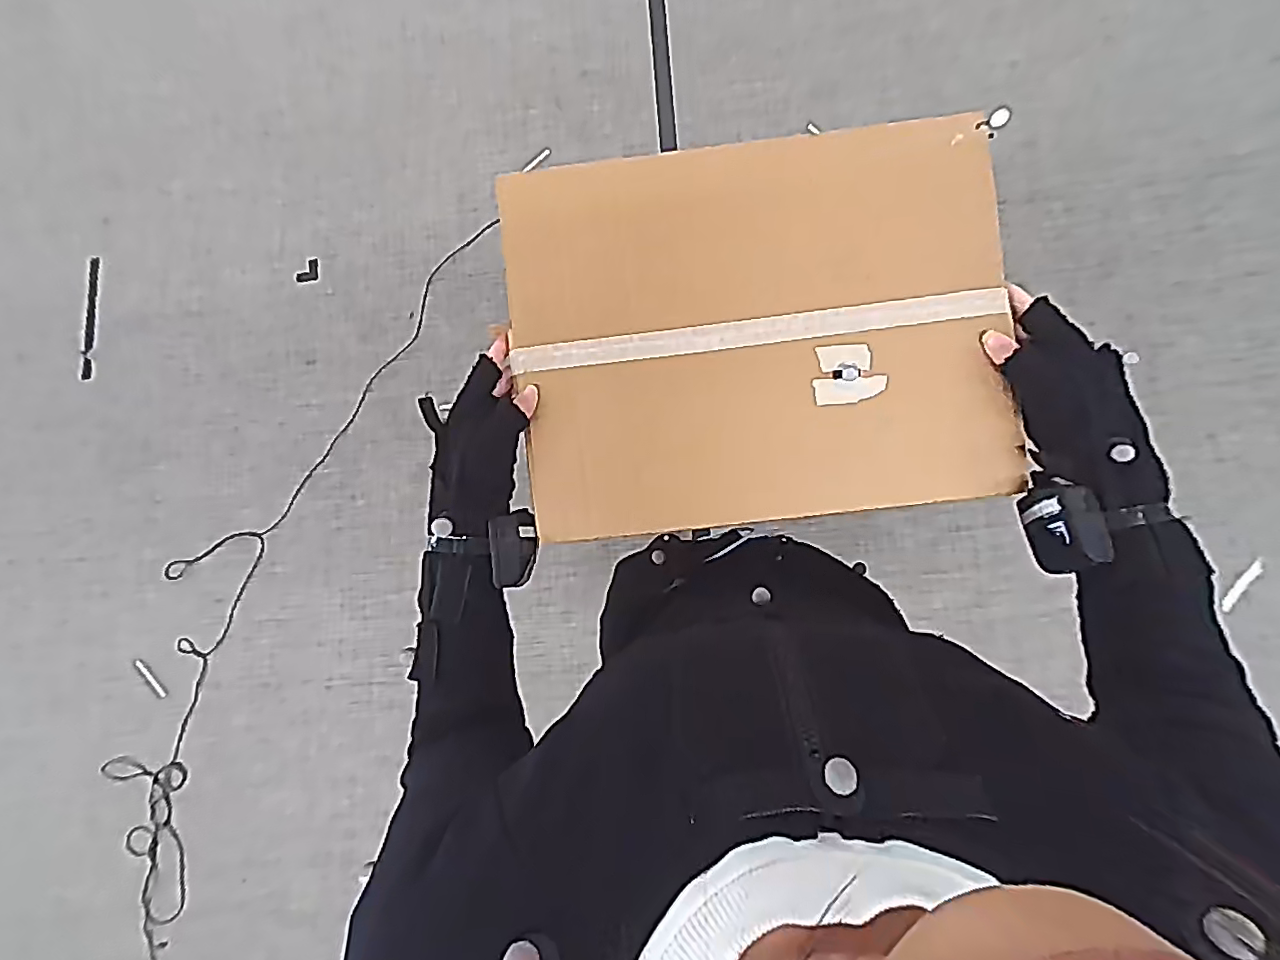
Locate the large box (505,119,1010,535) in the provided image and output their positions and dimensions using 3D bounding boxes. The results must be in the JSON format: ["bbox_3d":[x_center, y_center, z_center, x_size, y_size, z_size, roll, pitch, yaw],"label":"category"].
[{"bbox_3d":[0.100,-0.129,0.608,0.408,0.320,0.320,-7,91,1],"label":"large box"}]
